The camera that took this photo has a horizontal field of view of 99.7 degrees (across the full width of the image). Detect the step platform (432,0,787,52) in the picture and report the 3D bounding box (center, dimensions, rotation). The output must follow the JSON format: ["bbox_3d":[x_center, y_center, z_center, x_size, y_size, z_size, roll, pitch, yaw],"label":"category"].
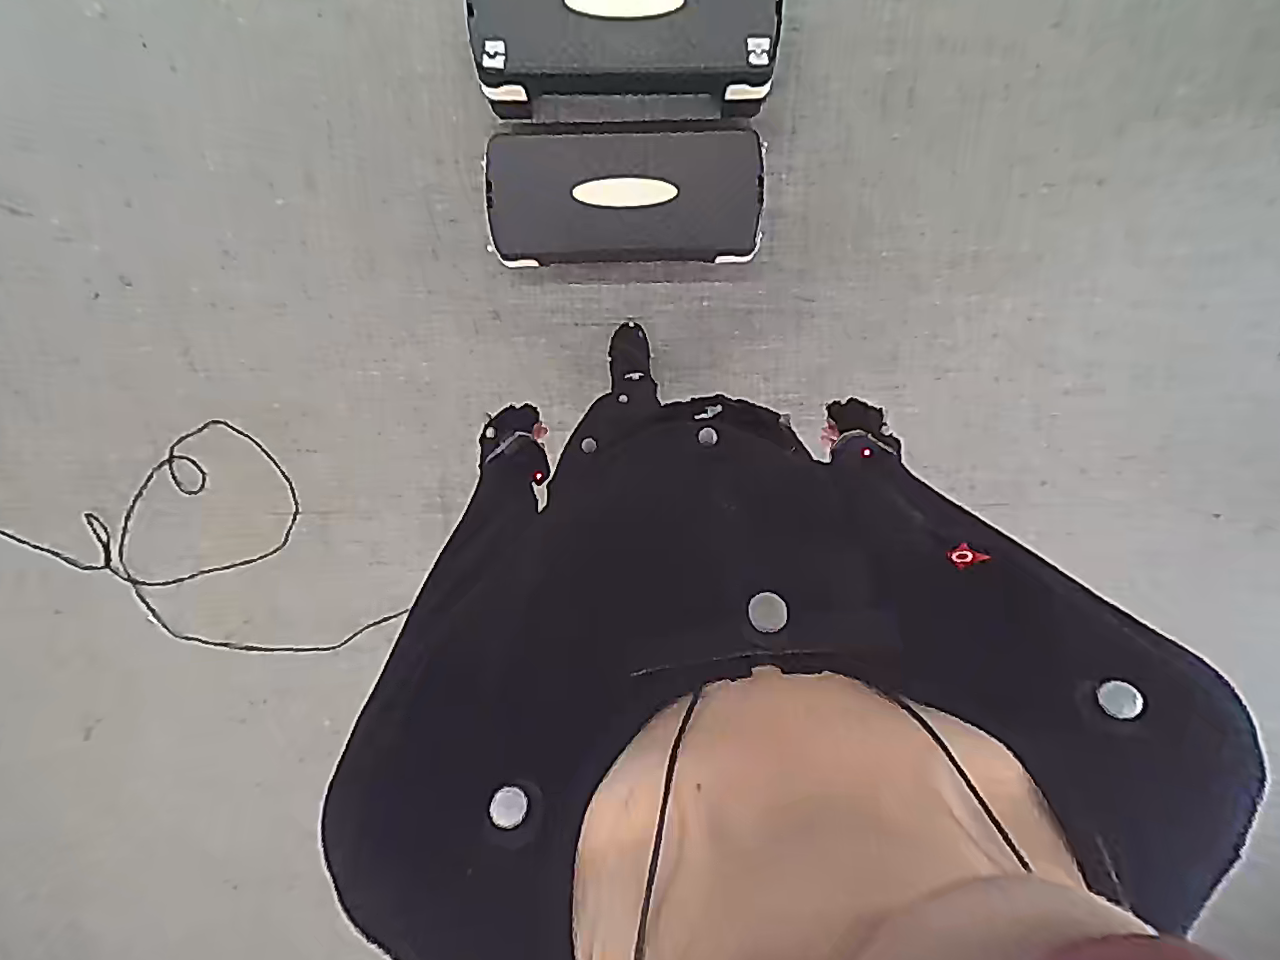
[{"bbox_3d":[-0.056,-0.999,0.998,0.684,0.204,0.286,-1,101,1],"label":"step platform"}]
